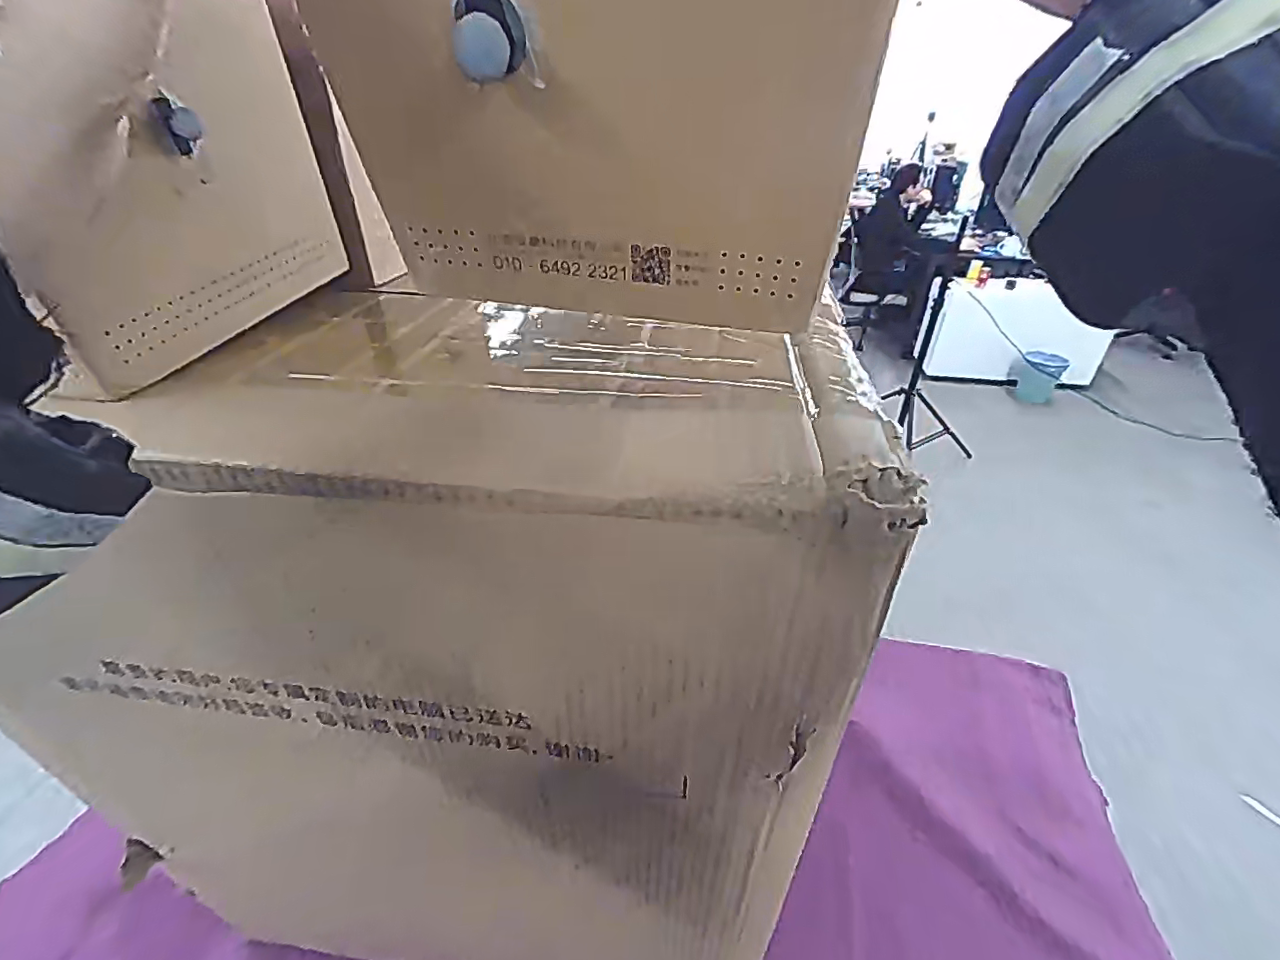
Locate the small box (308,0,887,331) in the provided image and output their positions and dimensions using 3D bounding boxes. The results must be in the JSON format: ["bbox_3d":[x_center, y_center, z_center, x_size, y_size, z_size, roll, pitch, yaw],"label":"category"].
[{"bbox_3d":[0.000,-0.178,0.206,0.168,0.176,0.179,8,53,9],"label":"small box"}]

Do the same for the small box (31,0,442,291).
[{"bbox_3d":[-0.251,-0.245,0.402,0.179,0.176,0.168,5,33,6],"label":"small box"}]
